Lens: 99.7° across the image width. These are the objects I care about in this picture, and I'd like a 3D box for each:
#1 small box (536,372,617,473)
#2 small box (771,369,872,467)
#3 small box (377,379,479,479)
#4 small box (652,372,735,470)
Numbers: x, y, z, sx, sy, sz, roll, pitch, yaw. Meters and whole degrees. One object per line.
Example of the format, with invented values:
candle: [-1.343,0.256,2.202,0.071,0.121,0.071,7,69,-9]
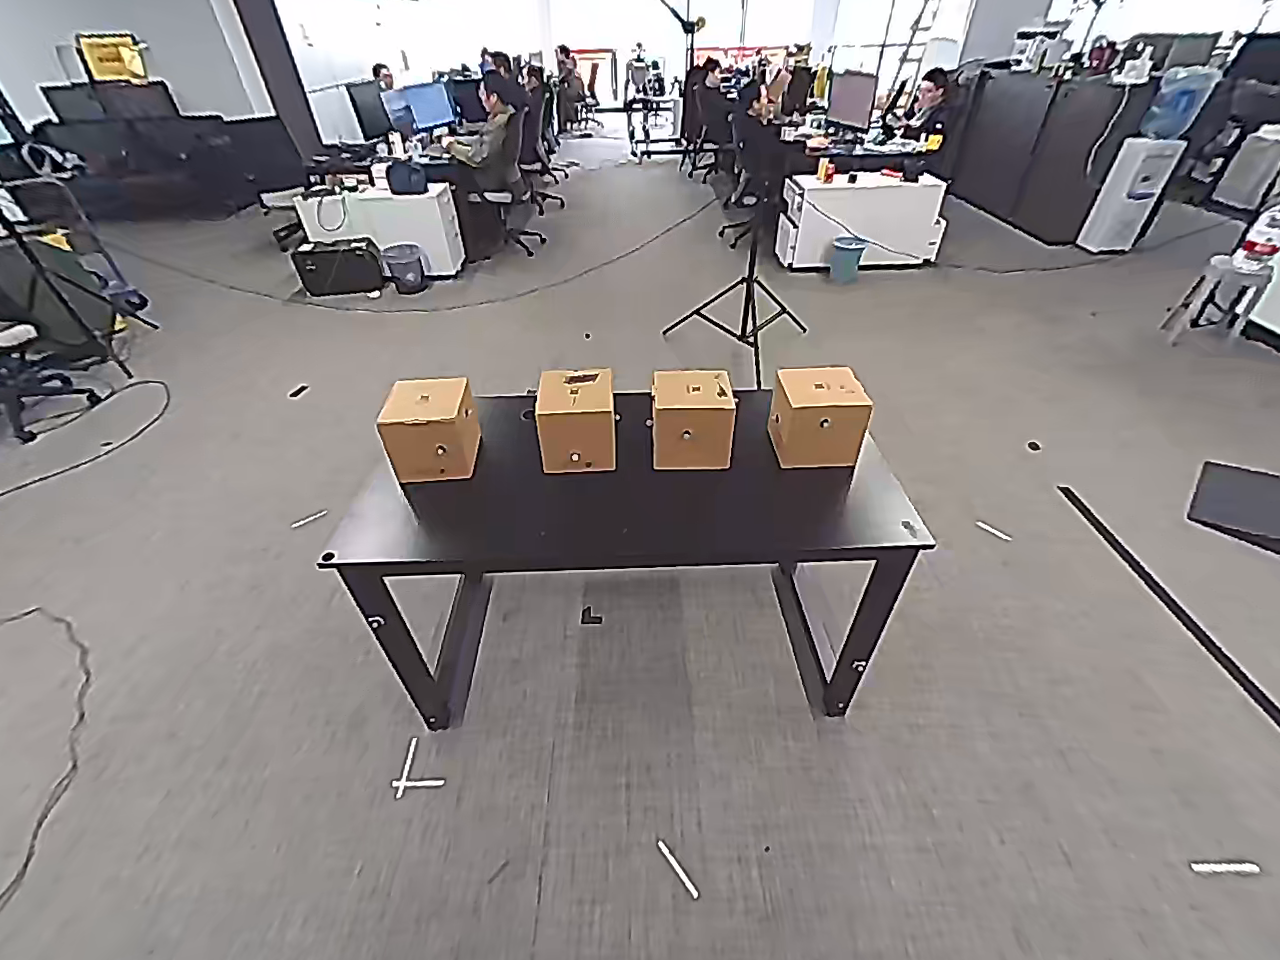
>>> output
small box: [-0.141,-0.133,1.254,0.168,0.176,0.179,-3,41,-2]
small box: [0.407,-0.141,1.248,0.179,0.176,0.168,-2,40,0]
small box: [-0.473,-0.112,1.238,0.168,0.176,0.179,-3,39,-5]
small box: [0.119,-0.135,1.252,0.179,0.176,0.168,-1,40,1]
